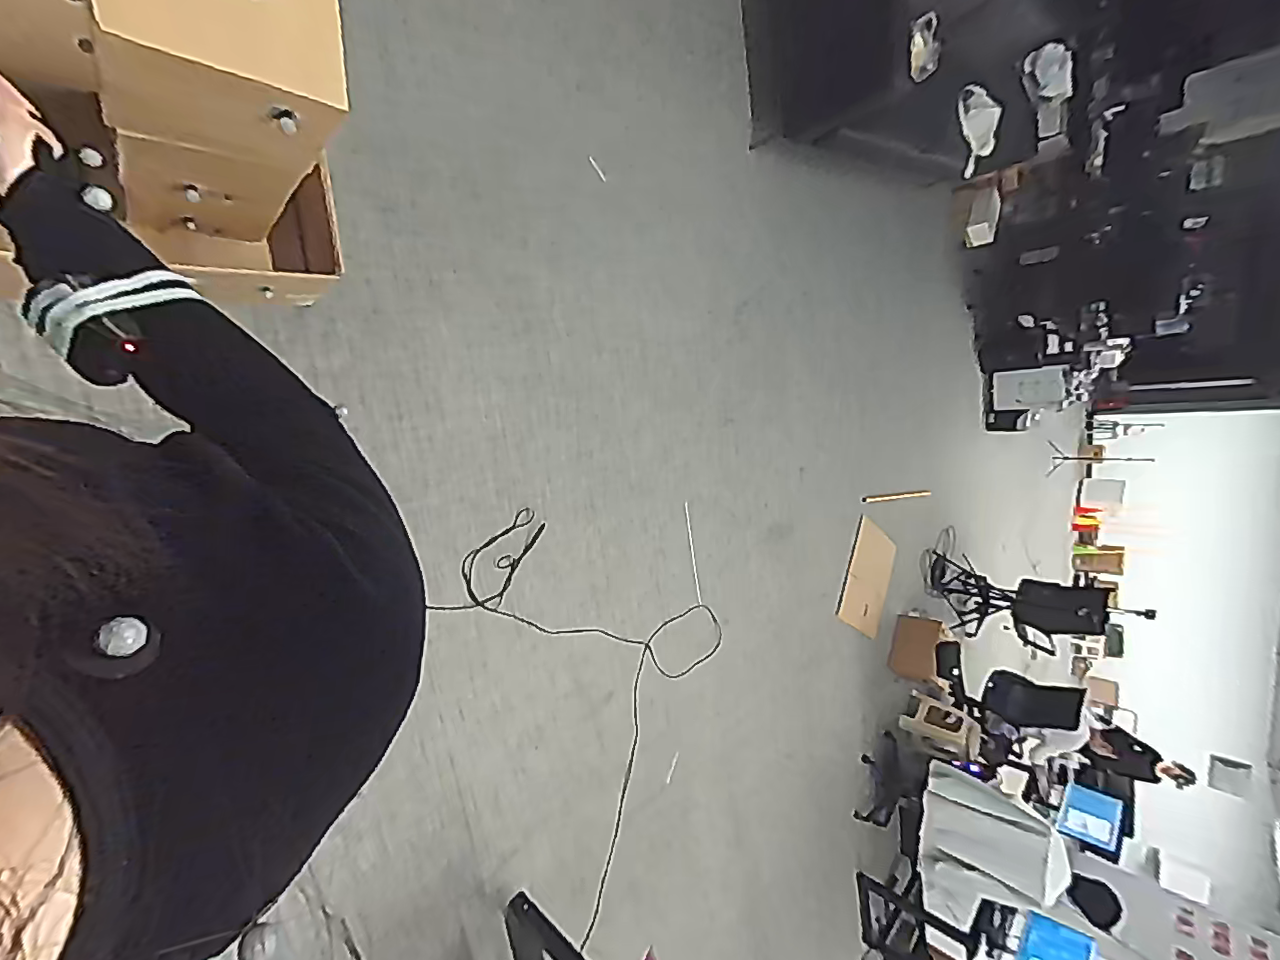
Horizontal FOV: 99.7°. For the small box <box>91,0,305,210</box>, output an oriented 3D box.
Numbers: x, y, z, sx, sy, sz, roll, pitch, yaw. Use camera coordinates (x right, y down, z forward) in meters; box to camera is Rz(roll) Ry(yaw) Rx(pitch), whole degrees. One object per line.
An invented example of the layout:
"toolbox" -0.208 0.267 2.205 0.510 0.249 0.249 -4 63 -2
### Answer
"small box" -0.509 -0.442 0.626 0.168 0.176 0.179 -10 101 -41
